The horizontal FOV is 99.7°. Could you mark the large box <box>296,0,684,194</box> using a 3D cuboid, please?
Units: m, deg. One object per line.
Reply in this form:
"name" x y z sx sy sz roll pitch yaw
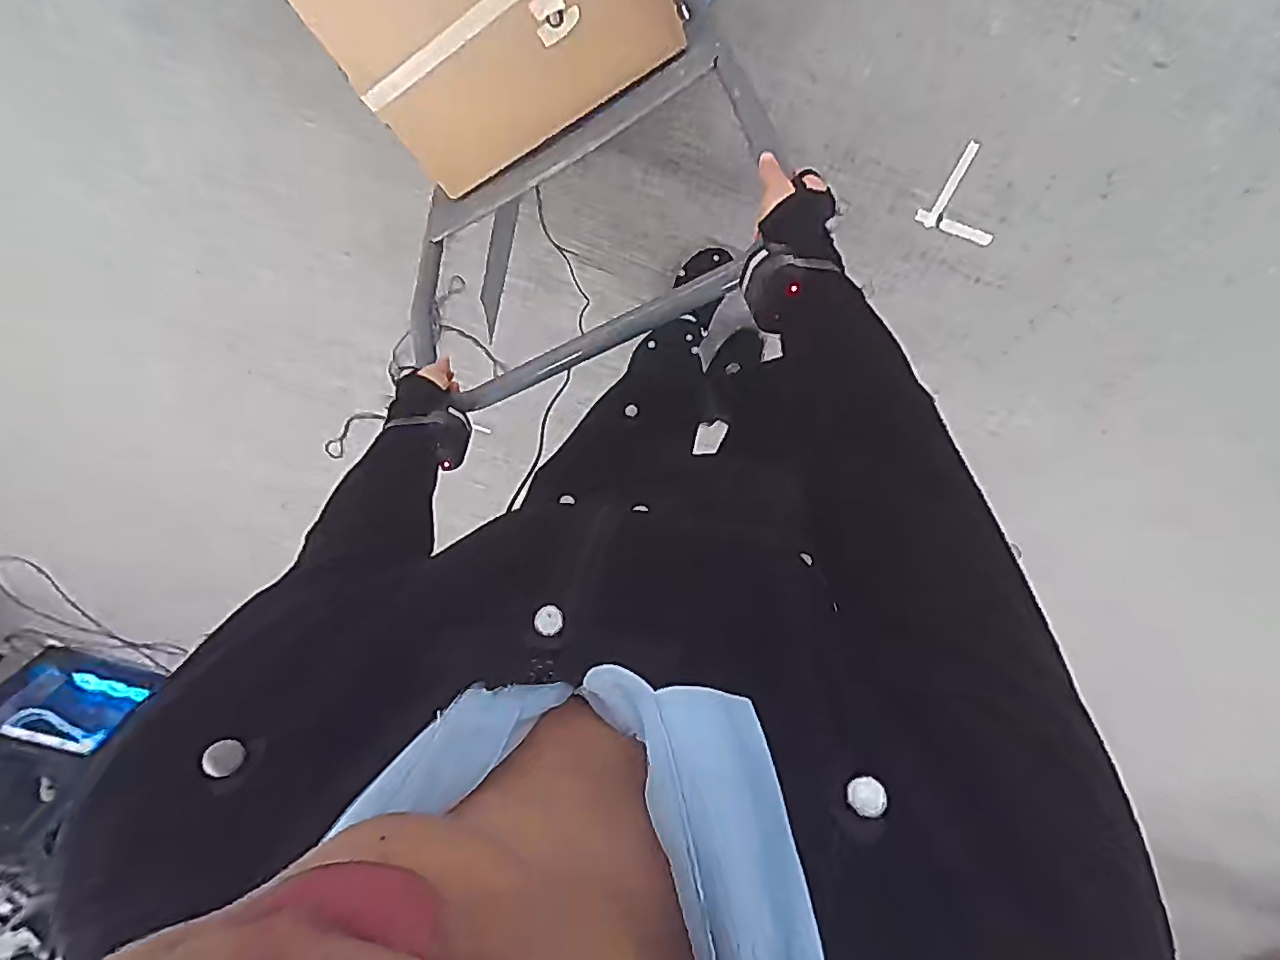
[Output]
"large box" -0.199 -0.704 0.754 0.408 0.320 0.320 -23 141 19
